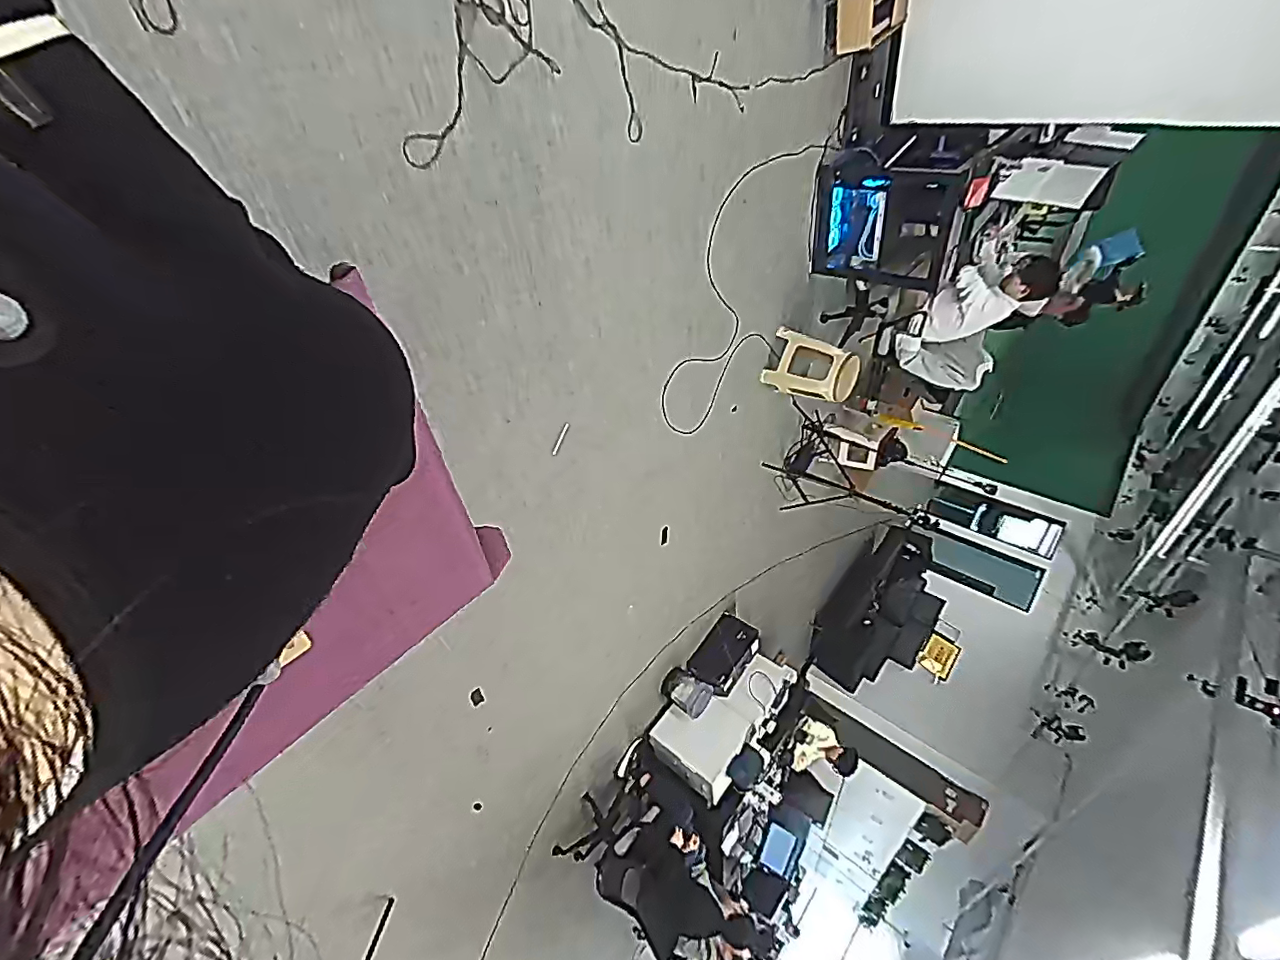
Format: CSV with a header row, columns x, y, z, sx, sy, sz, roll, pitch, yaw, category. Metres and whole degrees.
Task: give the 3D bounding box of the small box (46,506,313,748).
x,y,z,sx,sy,sz,roll,pitch,yaw,category
-0.537,0.161,0.637,0.179,0.176,0.168,-37,138,-34,small box
